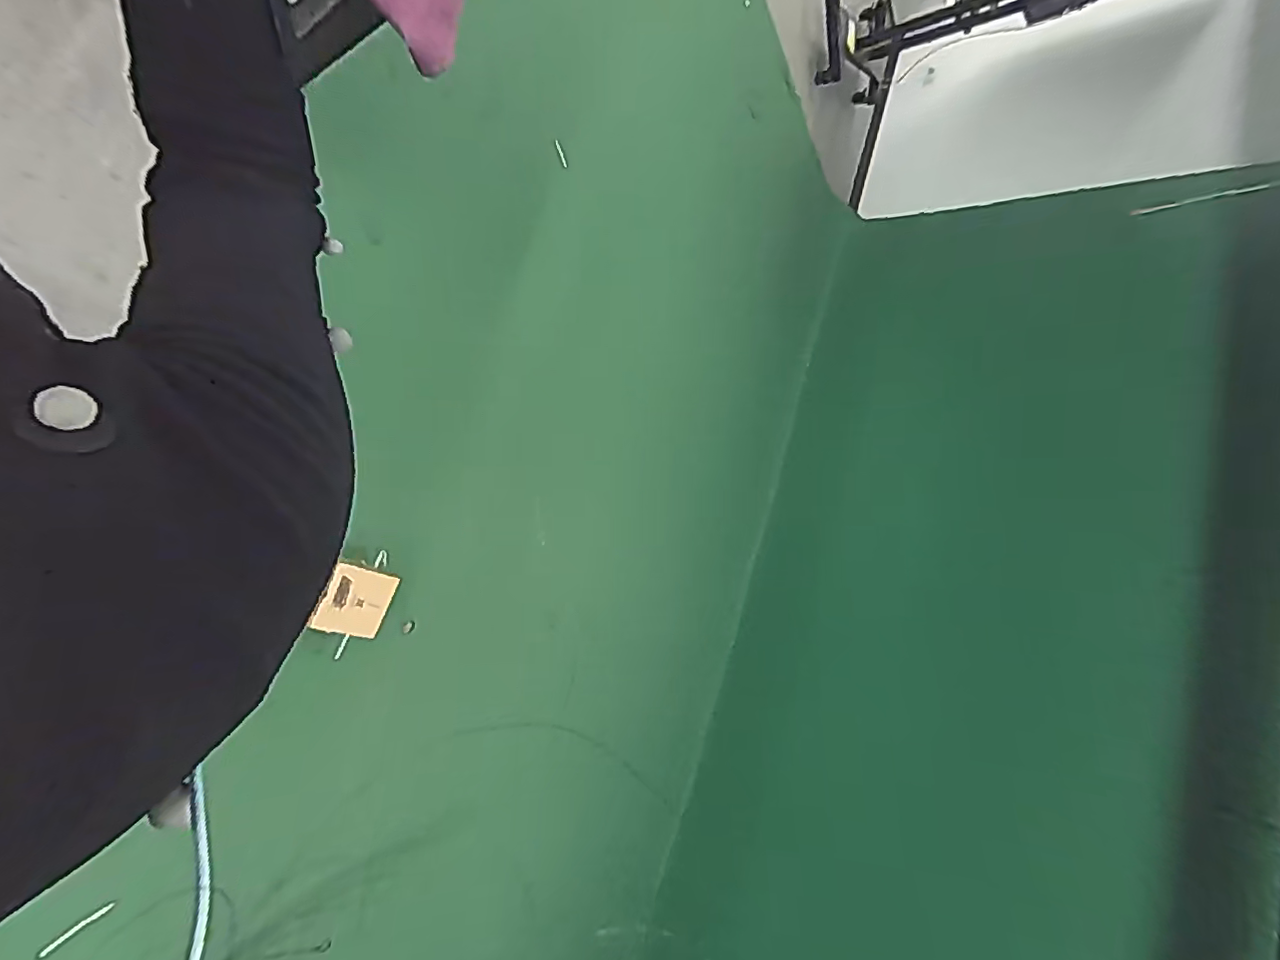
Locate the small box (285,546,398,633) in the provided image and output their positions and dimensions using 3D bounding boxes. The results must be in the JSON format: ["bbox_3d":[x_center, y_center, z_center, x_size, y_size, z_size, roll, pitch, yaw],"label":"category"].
[{"bbox_3d":[-0.782,0.283,1.414,0.179,0.176,0.168,37,69,-50],"label":"small box"}]
